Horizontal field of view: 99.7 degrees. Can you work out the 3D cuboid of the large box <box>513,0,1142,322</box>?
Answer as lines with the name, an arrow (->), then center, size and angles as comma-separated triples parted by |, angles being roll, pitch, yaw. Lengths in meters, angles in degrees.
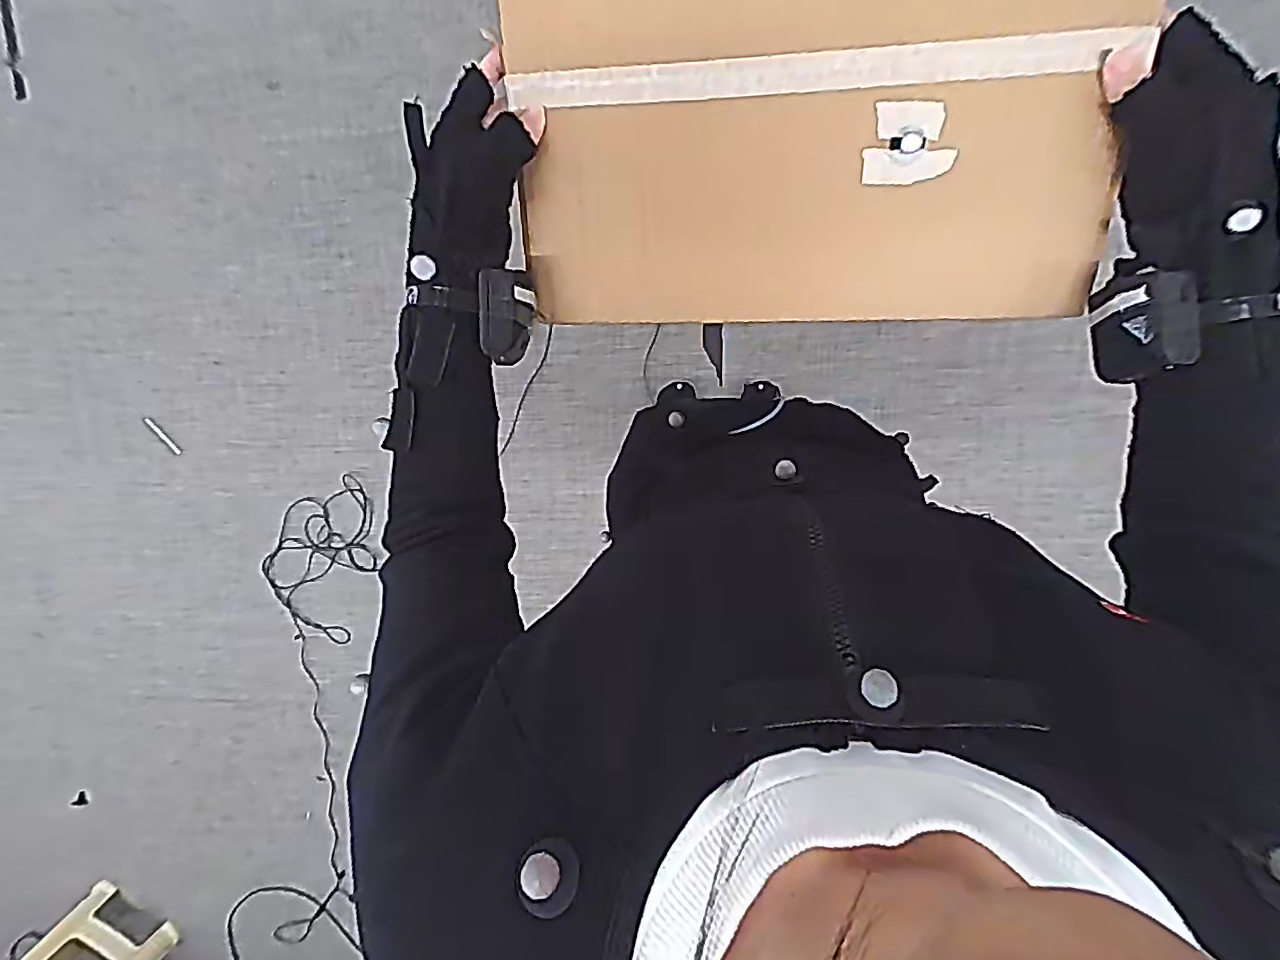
large box -> 0.127, -0.327, 0.502 | 0.408, 0.320, 0.320 | 1, 112, 7
